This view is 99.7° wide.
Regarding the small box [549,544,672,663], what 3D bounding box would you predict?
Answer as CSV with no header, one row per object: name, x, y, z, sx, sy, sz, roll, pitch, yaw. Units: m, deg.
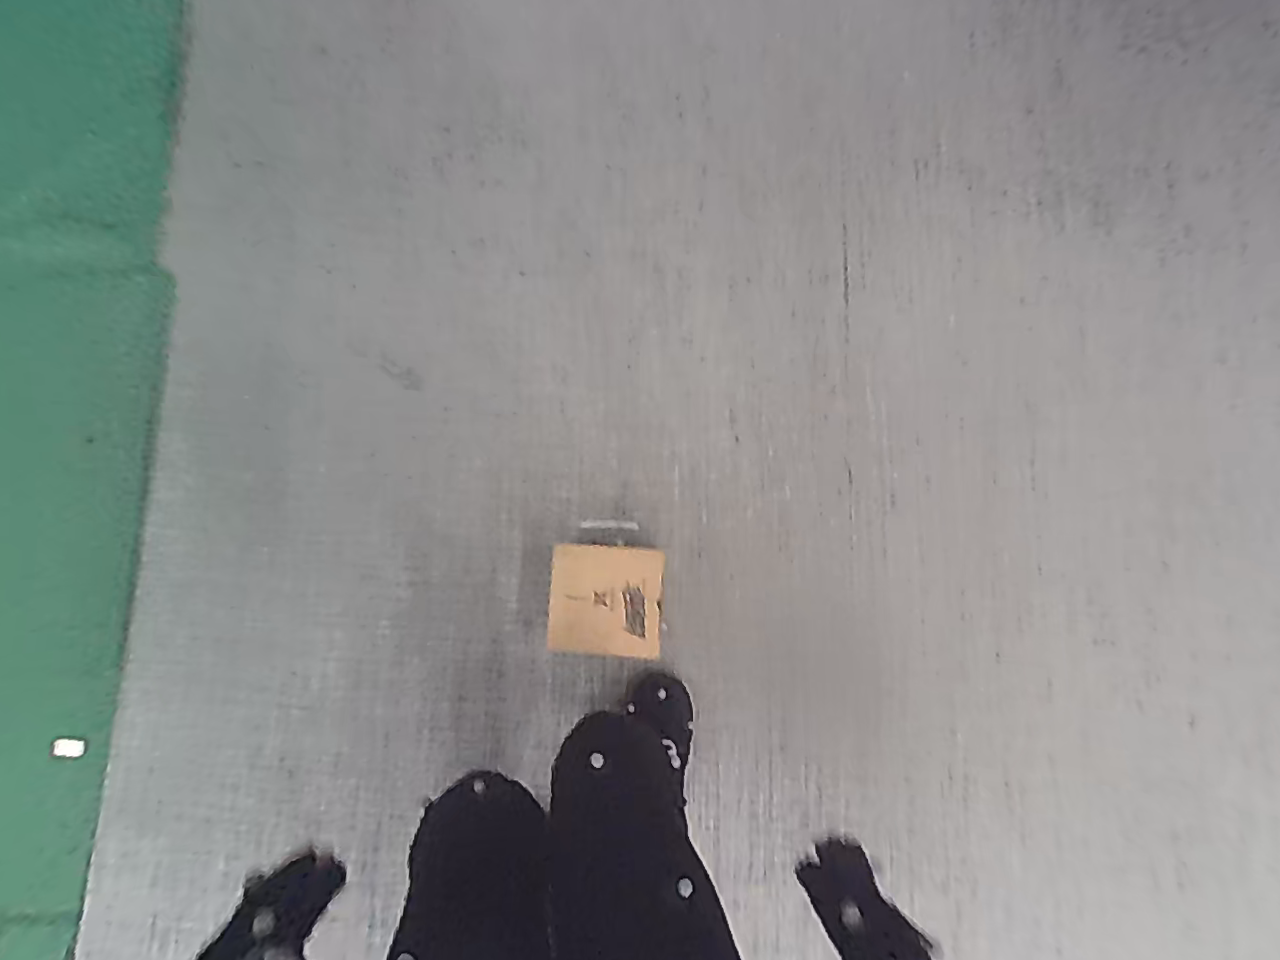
small box,-0.044,0.203,0.919,0.179,0.176,0.168,6,80,3
